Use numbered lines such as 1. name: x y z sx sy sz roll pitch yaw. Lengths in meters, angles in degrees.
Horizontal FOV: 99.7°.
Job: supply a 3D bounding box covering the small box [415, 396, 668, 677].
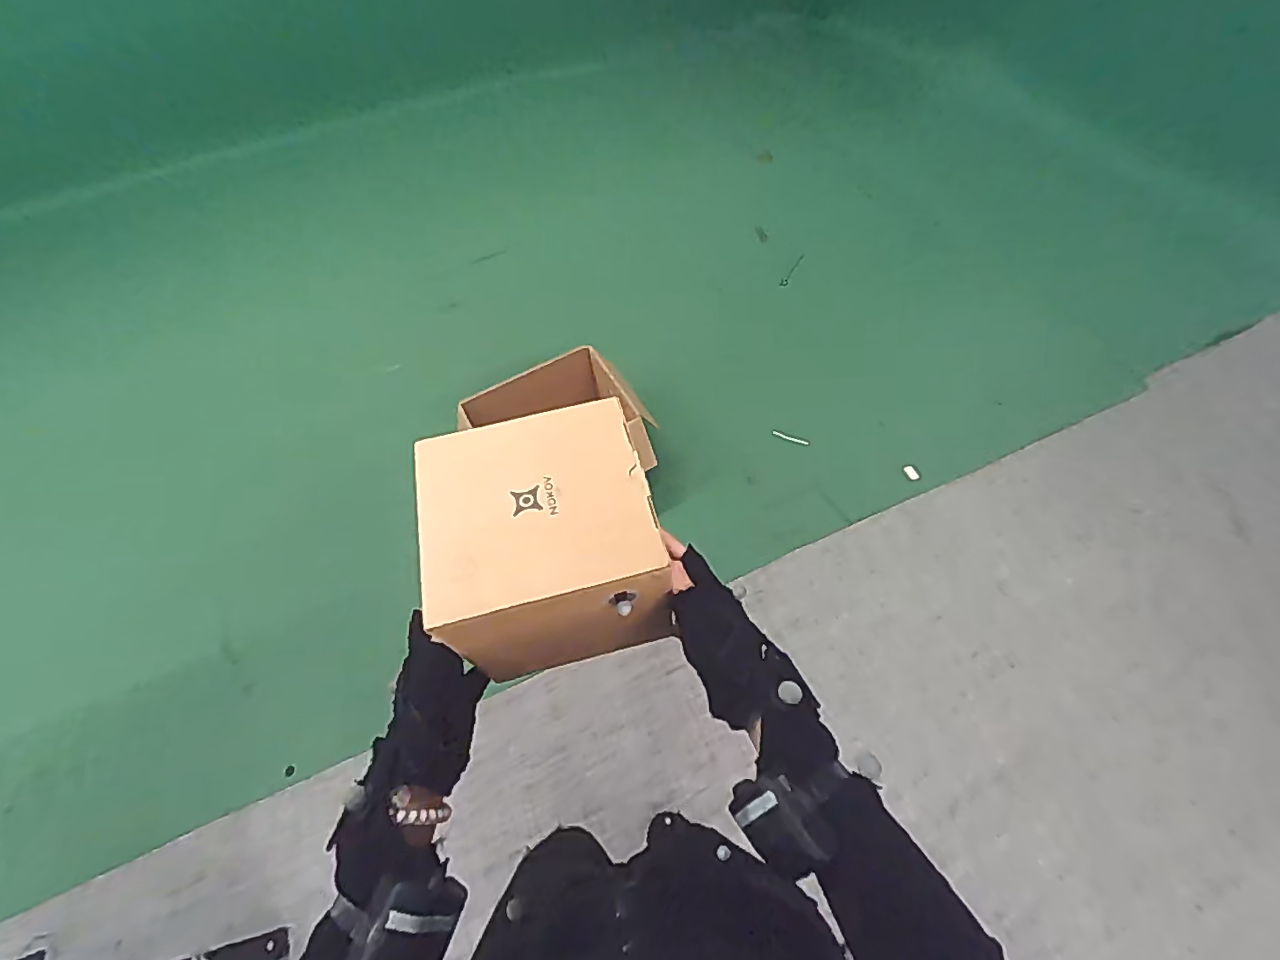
1. small box: -0.079 0.057 0.479 0.179 0.176 0.168 -14 58 -6
